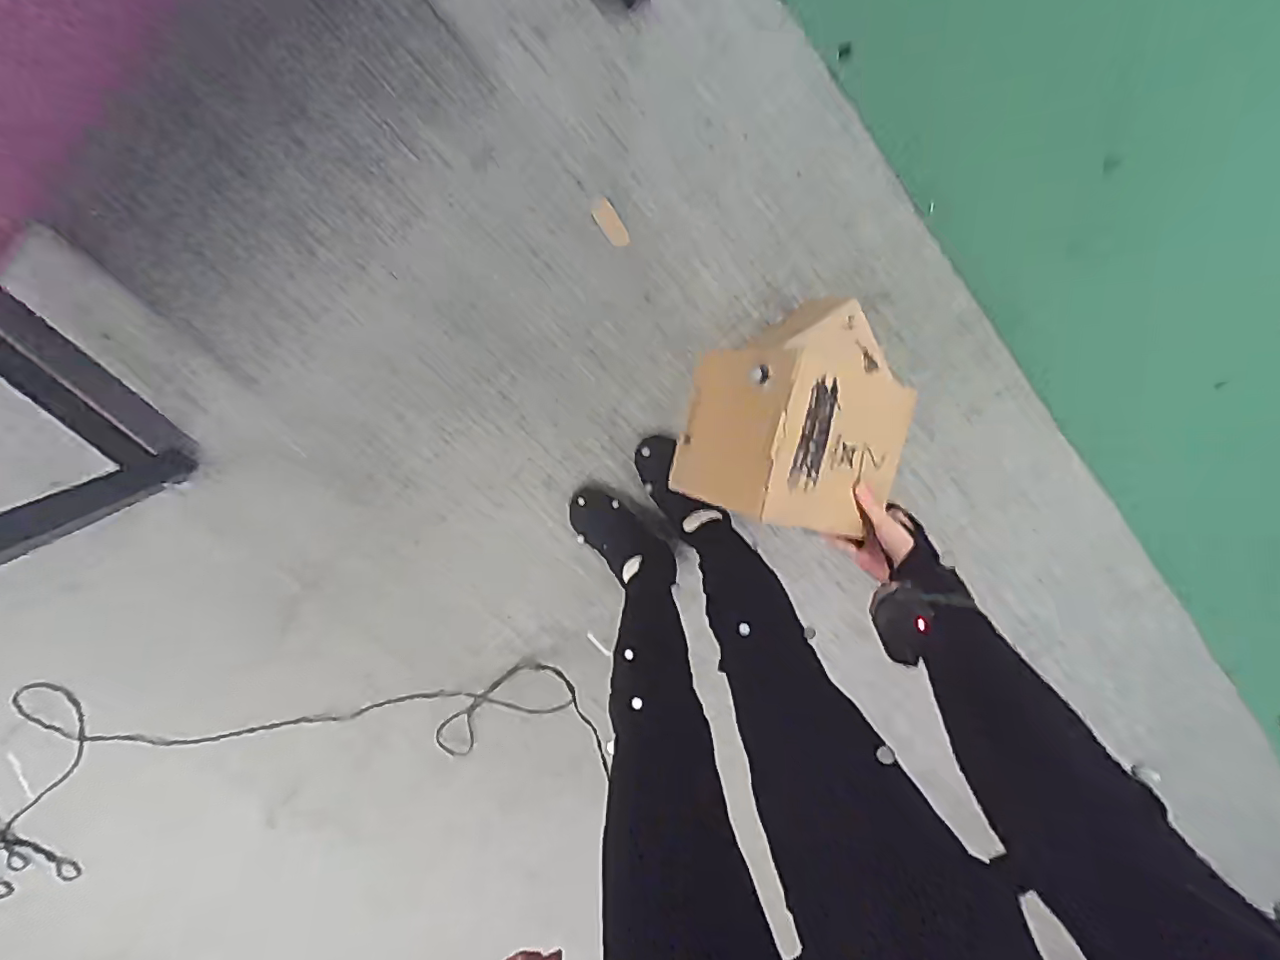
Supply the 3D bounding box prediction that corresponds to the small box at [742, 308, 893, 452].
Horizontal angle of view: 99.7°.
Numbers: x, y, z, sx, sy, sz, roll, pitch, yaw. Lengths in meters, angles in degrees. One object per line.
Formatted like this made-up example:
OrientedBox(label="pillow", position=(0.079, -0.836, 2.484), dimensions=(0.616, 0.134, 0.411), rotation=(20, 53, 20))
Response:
OrientedBox(label="small box", position=(0.289, -0.177, 0.926), dimensions=(0.179, 0.176, 0.168), rotation=(-30, 108, 8))
